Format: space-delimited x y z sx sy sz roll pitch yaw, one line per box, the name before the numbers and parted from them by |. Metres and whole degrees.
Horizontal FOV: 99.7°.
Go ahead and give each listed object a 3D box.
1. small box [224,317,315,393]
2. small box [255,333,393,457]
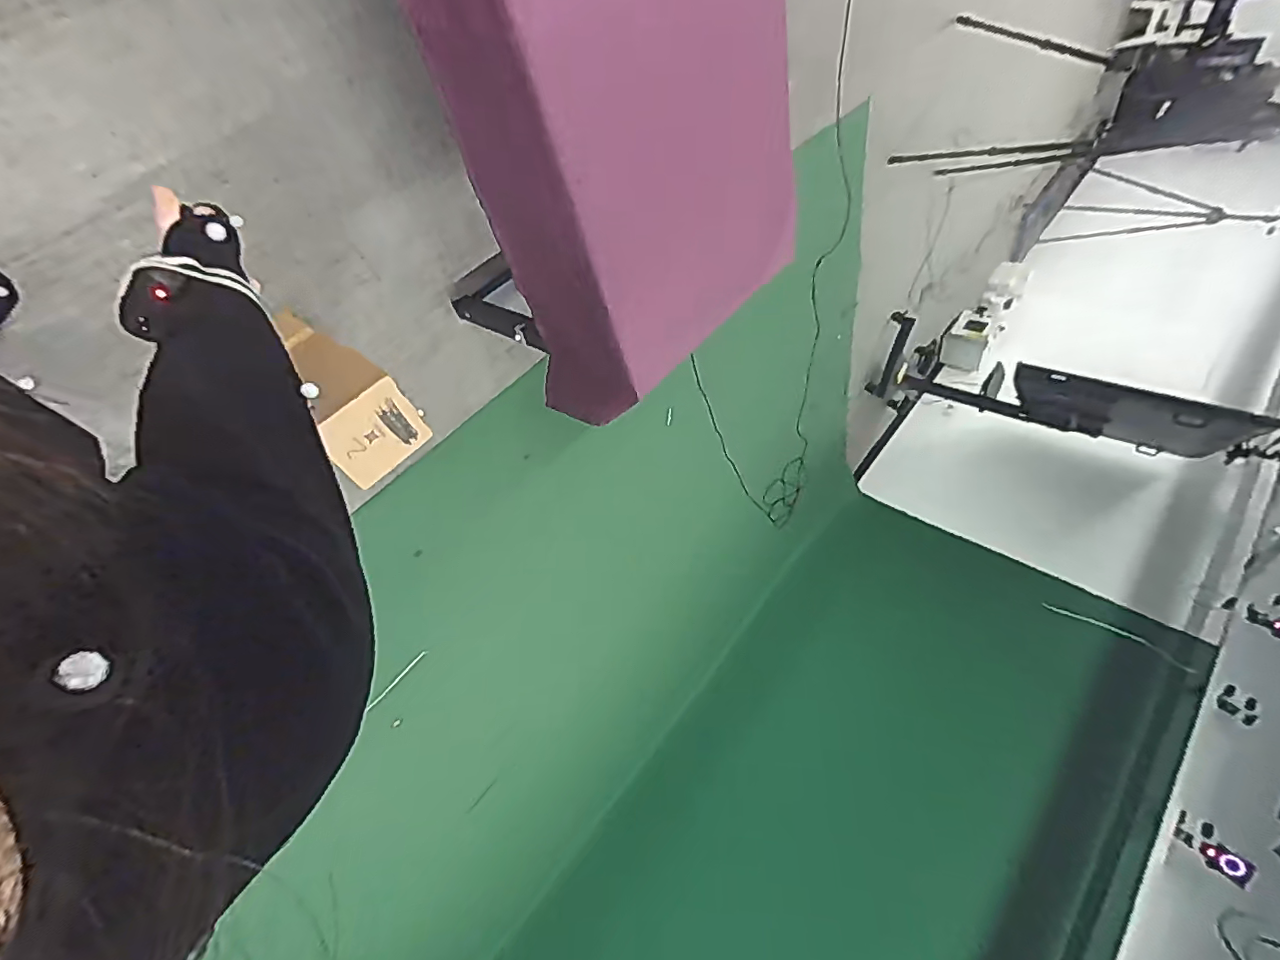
small box | -0.798 -0.254 1.238 0.168 0.176 0.179 -47 143 -20
small box | -0.677 -0.185 1.153 0.179 0.176 0.168 -46 144 -22
